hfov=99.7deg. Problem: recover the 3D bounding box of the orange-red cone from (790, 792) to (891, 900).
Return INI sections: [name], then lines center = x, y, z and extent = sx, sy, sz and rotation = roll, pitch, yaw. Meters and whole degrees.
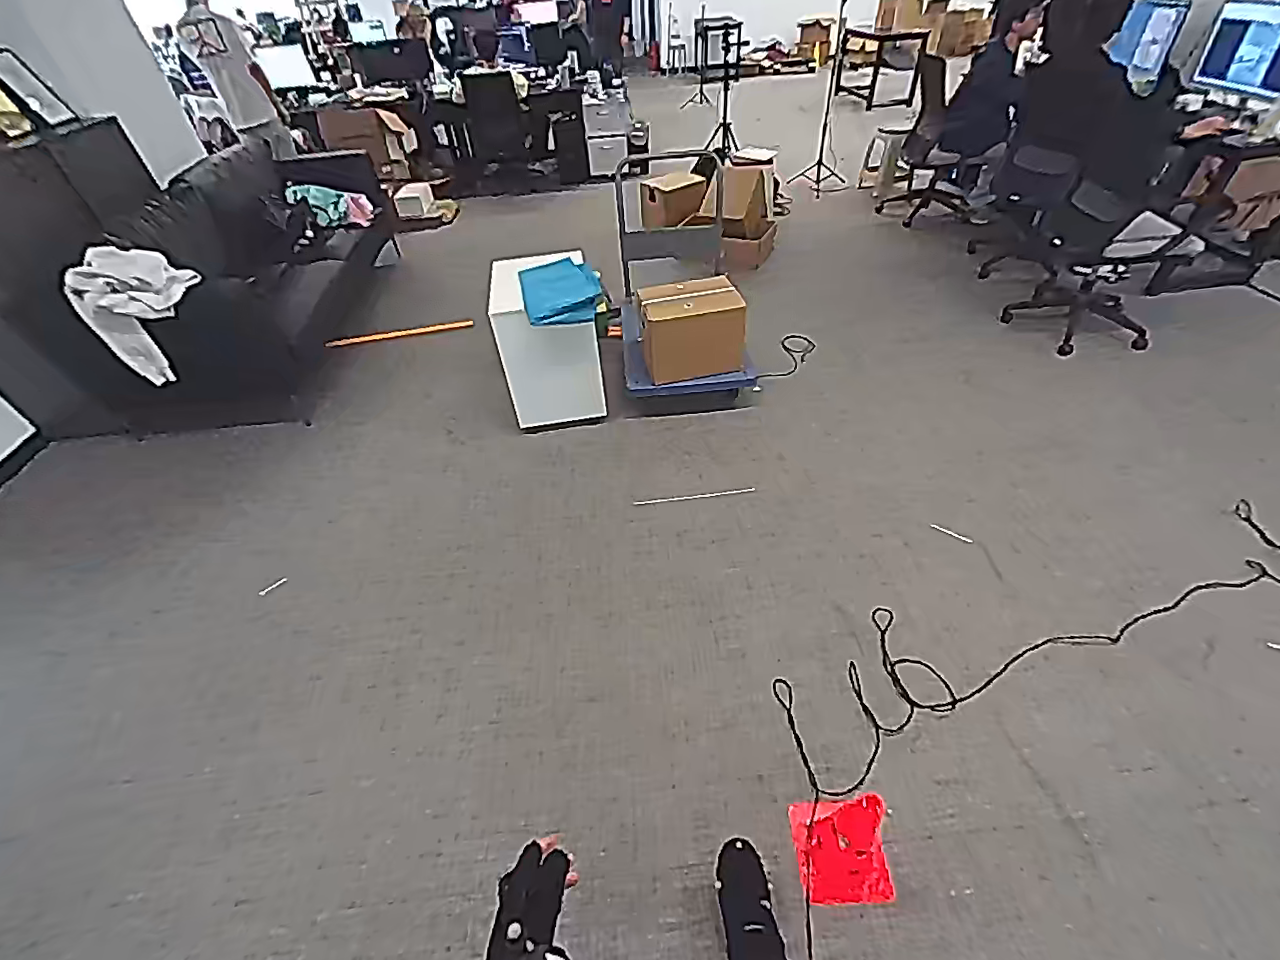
[orange-red cone]
center = 0.447, 0.729, 1.132
extent = 0.198, 0.360, 0.199
rotation = -3, 45, 3
